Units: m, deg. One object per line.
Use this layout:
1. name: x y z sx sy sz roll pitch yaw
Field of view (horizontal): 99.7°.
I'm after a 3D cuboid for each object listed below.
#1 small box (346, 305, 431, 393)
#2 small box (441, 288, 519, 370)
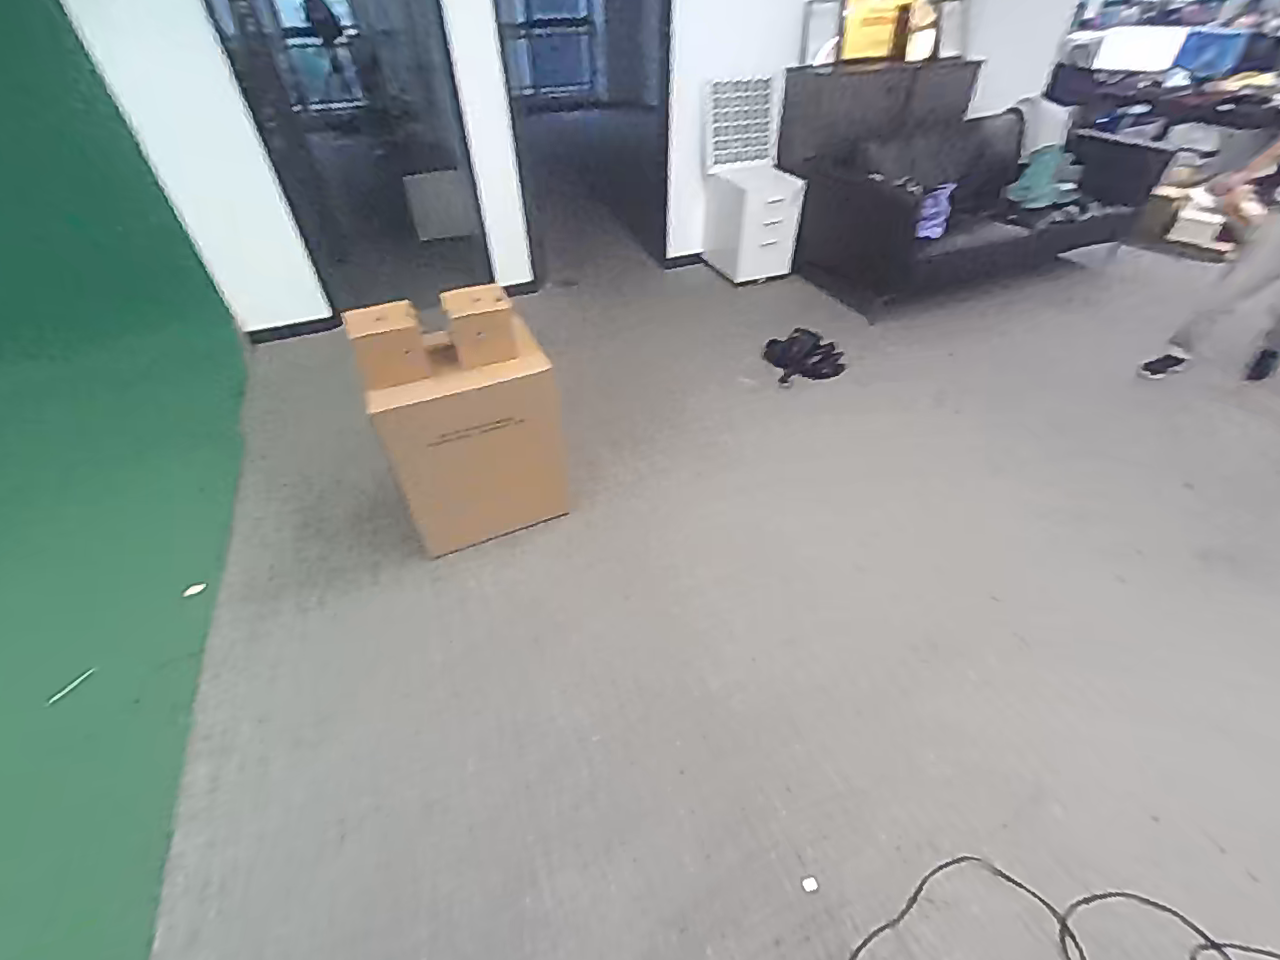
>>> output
1. small box: -0.718 -0.376 1.557 0.179 0.176 0.168 -20 48 -18
2. small box: -0.481 -0.455 1.638 0.179 0.176 0.168 -17 49 -17
